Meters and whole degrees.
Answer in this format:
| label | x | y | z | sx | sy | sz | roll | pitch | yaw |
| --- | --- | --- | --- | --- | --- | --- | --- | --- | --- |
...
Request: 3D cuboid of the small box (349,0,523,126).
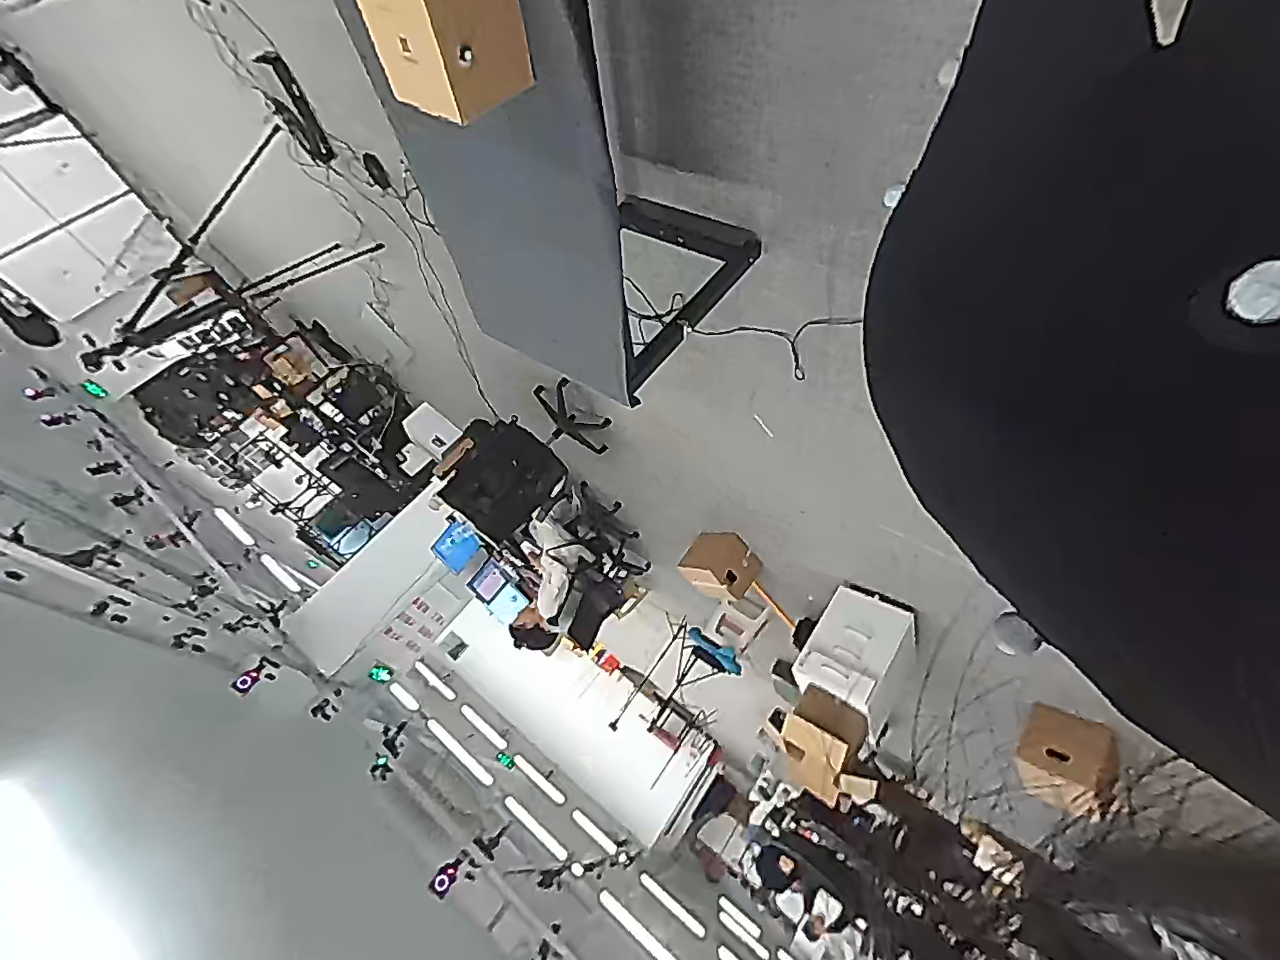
| label | x | y | z | sx | sy | sz | roll | pitch | yaw |
| --- | --- | --- | --- | --- | --- | --- | --- | --- | --- |
| small box | -0.299 | -0.681 | 0.811 | 0.168 | 0.176 | 0.179 | 31 | 155 | 20 |
